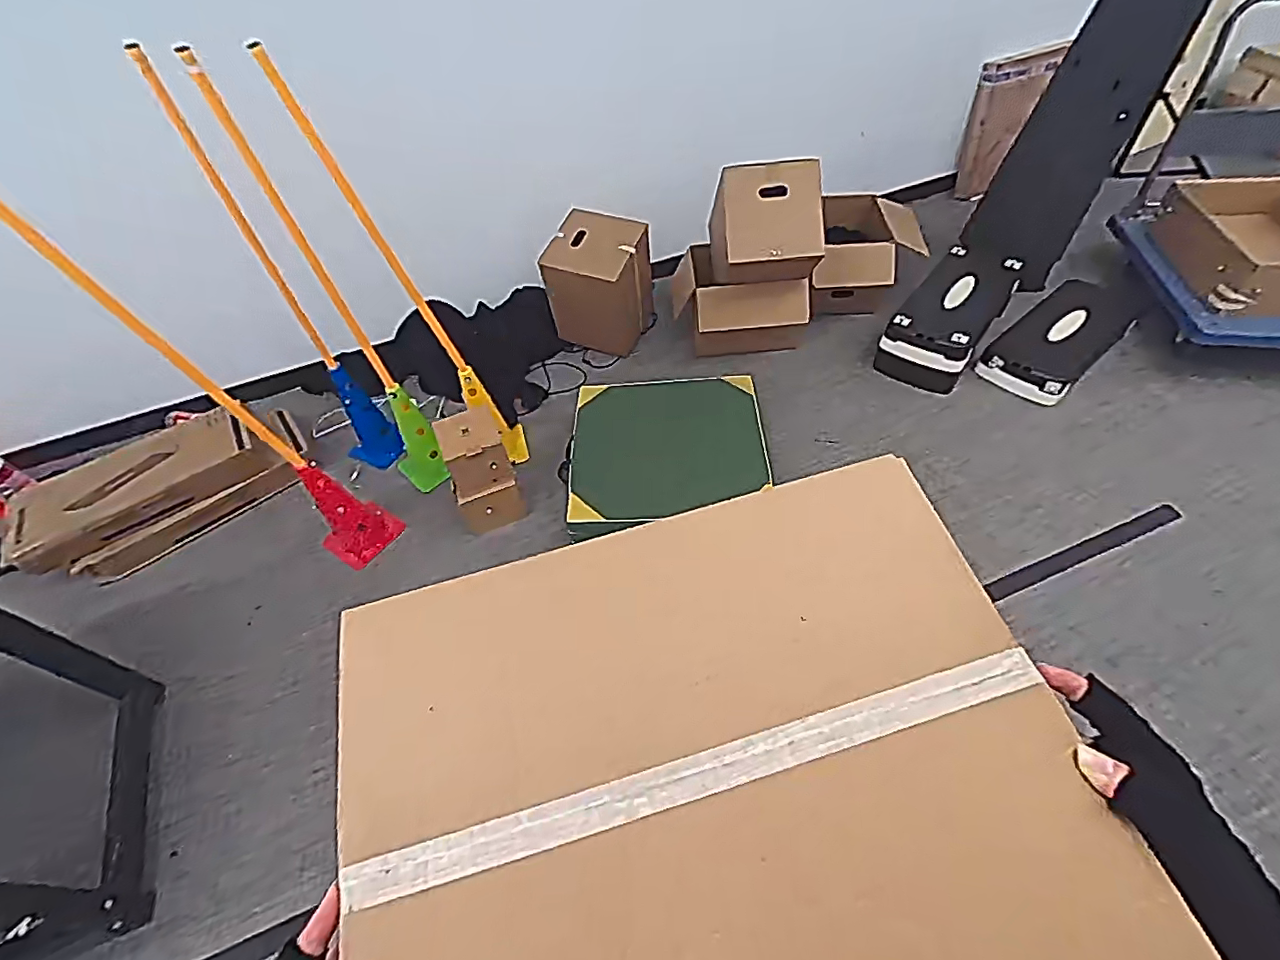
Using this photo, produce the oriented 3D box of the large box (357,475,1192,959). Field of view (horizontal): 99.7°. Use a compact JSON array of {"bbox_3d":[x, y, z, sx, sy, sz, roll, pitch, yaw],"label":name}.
[{"bbox_3d":[0.051,0.248,0.439,0.408,0.320,0.320,-16,59,-4],"label":"large box"}]
